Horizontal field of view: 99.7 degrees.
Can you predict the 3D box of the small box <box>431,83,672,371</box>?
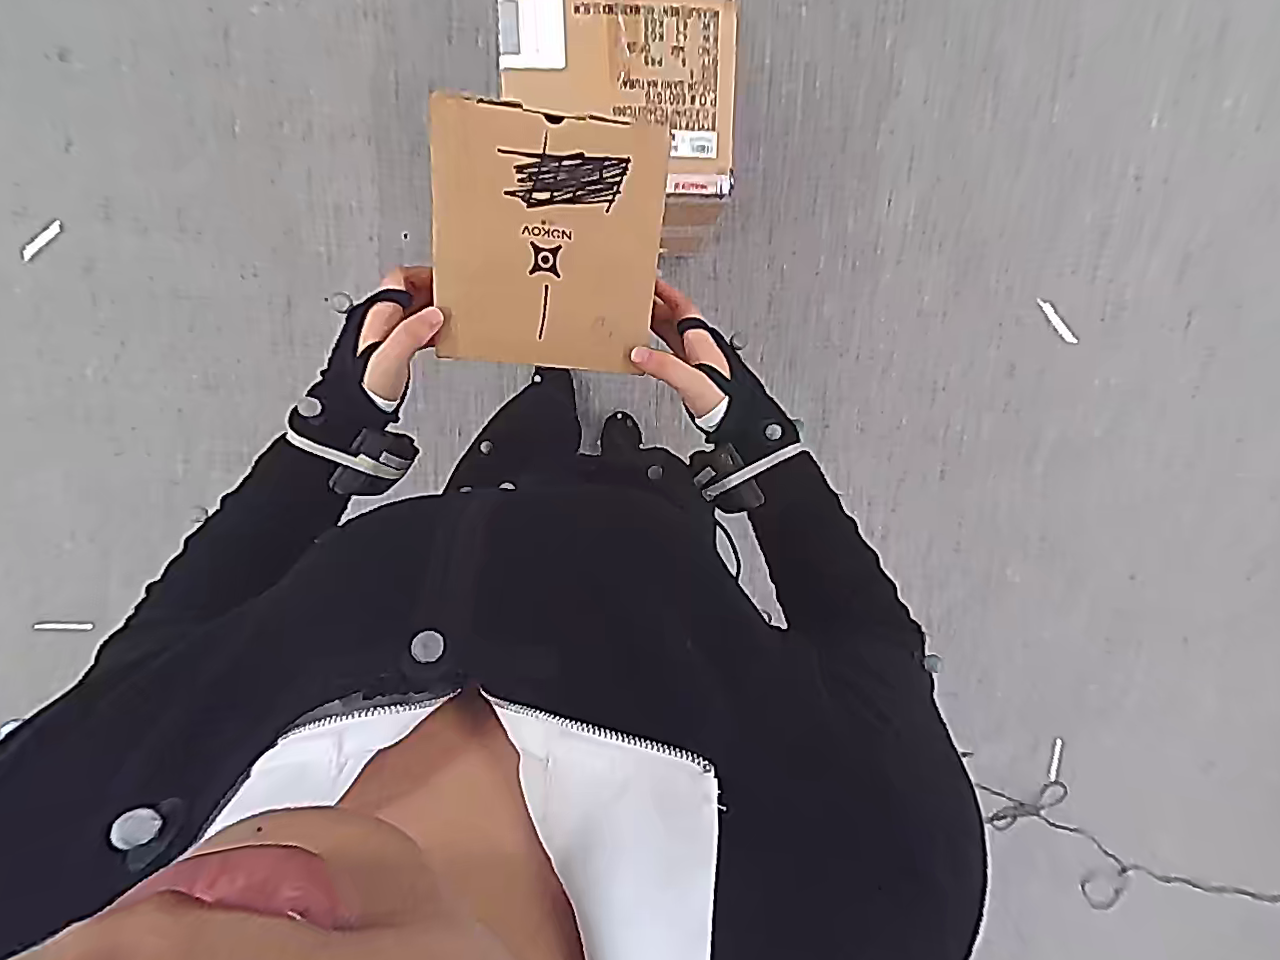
[{"bbox_3d":[-0.076,-0.201,0.468,0.168,0.176,0.179,4,109,-7],"label":"small box"}]
